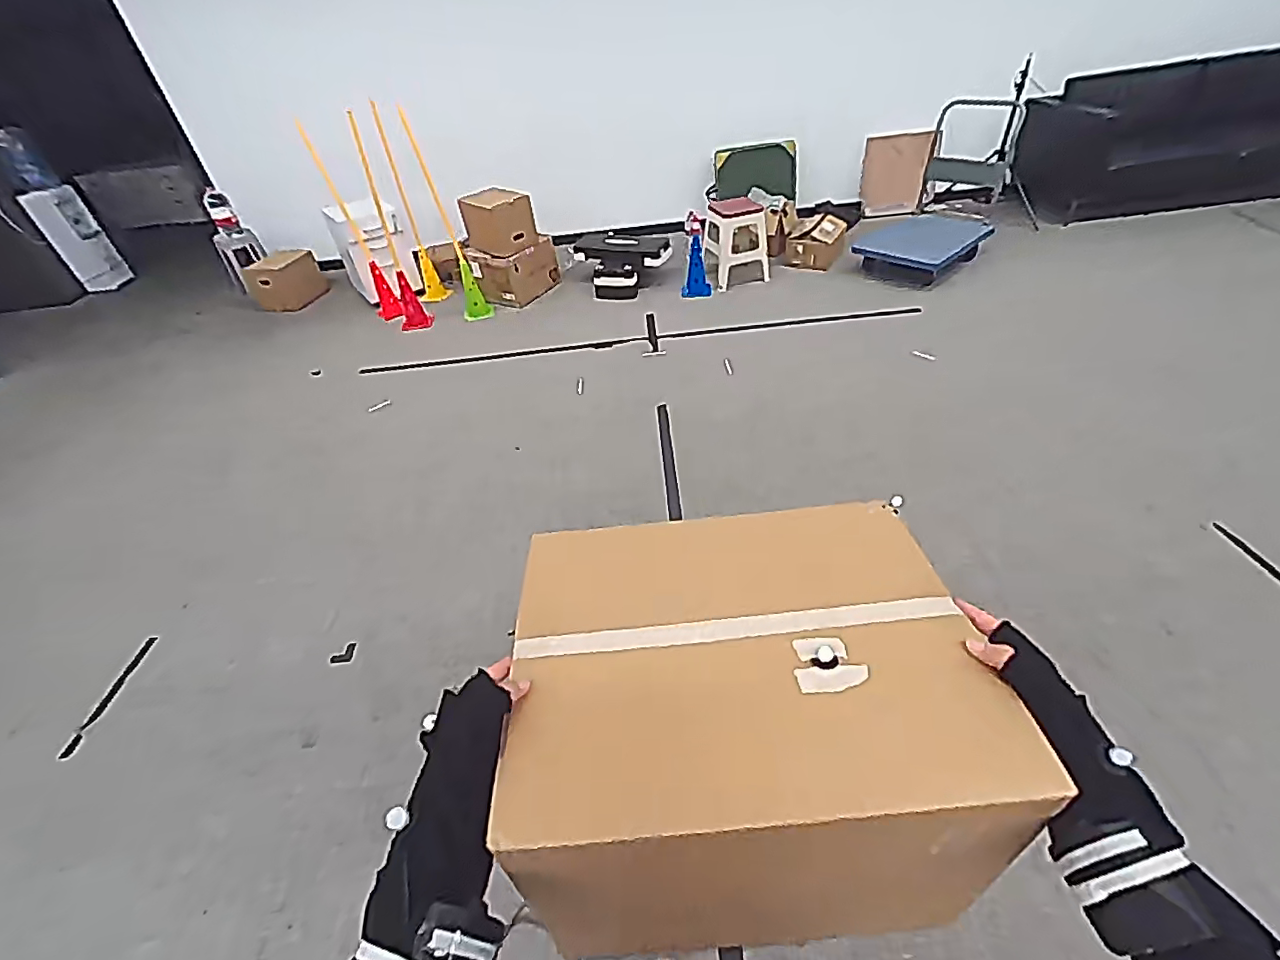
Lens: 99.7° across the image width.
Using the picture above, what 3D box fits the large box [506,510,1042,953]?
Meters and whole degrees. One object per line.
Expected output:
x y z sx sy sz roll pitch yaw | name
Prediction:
0.099 0.265 0.597 0.408 0.320 0.320 -6 37 0 | large box
